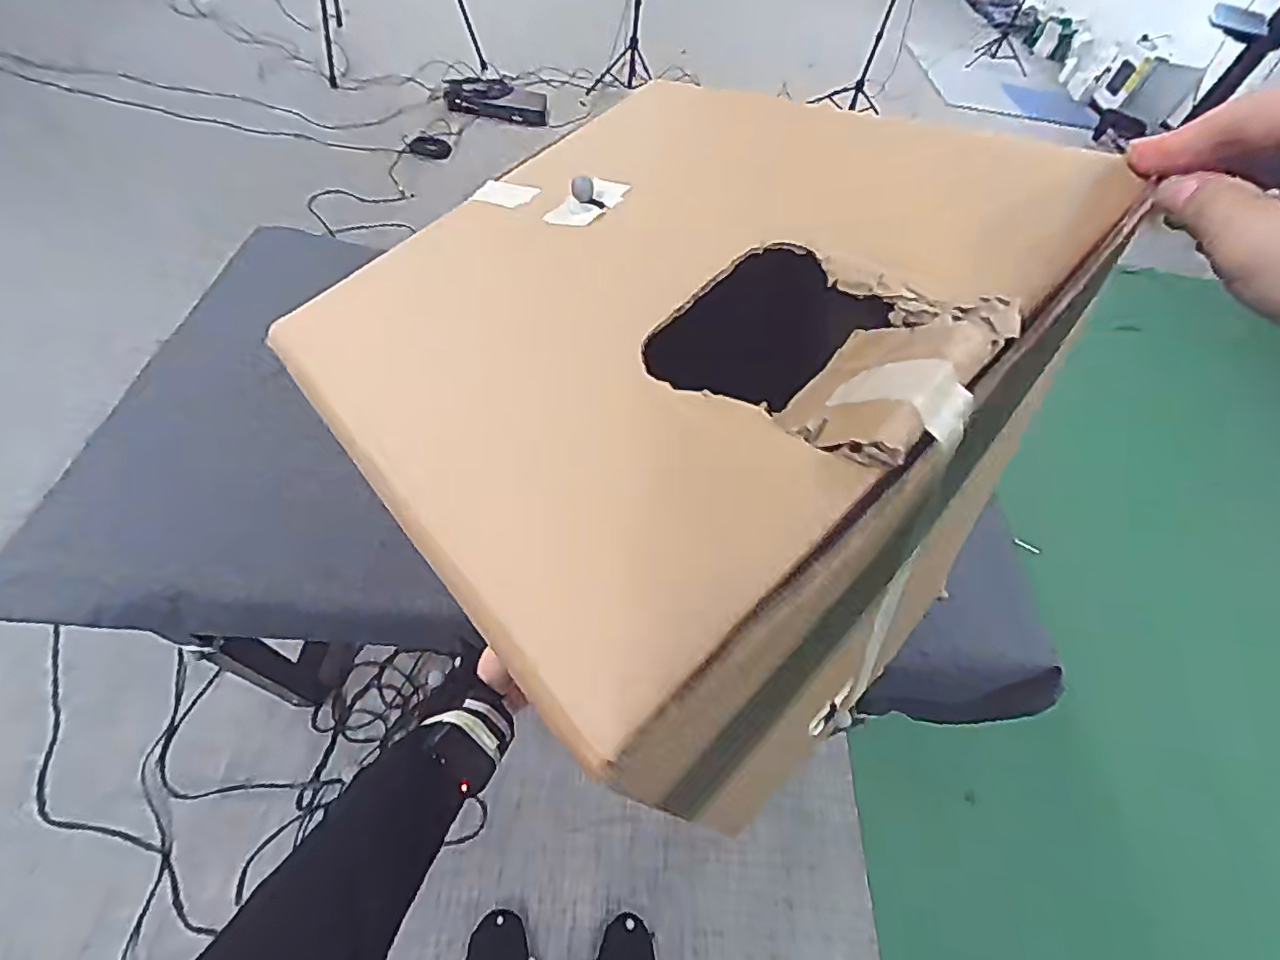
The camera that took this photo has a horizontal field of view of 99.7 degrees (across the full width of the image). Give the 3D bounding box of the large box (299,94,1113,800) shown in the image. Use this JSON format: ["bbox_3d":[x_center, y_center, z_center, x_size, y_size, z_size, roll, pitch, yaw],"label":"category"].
[{"bbox_3d":[0.044,0.001,0.434,0.320,0.408,0.320,-43,57,-15],"label":"large box"}]
